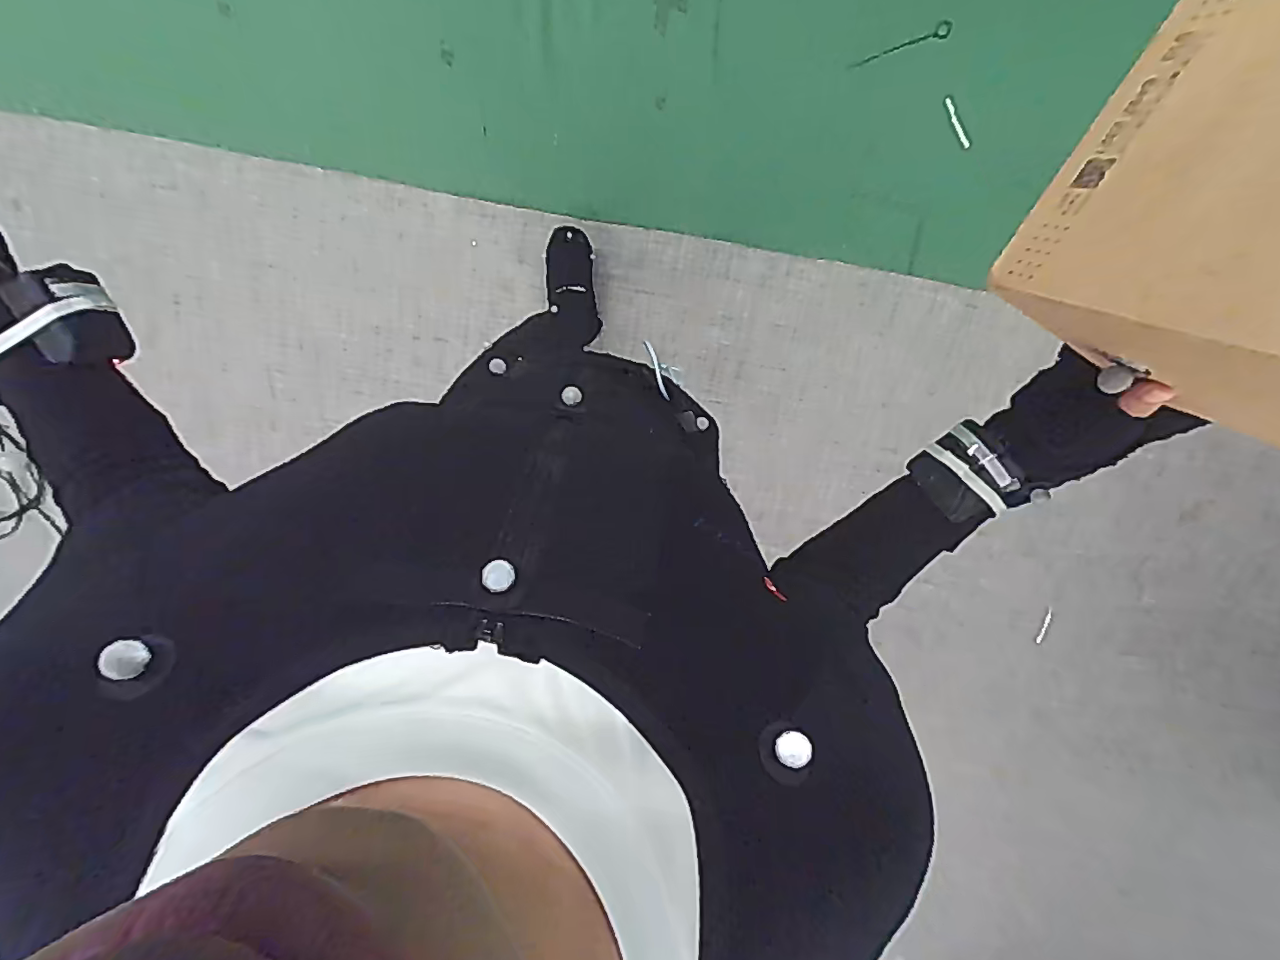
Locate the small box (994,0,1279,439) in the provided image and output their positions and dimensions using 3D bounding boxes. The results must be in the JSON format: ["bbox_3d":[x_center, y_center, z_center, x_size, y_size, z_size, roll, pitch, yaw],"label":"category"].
[{"bbox_3d":[0.317,-0.115,0.239,0.179,0.176,0.168,19,114,-24],"label":"small box"}]
